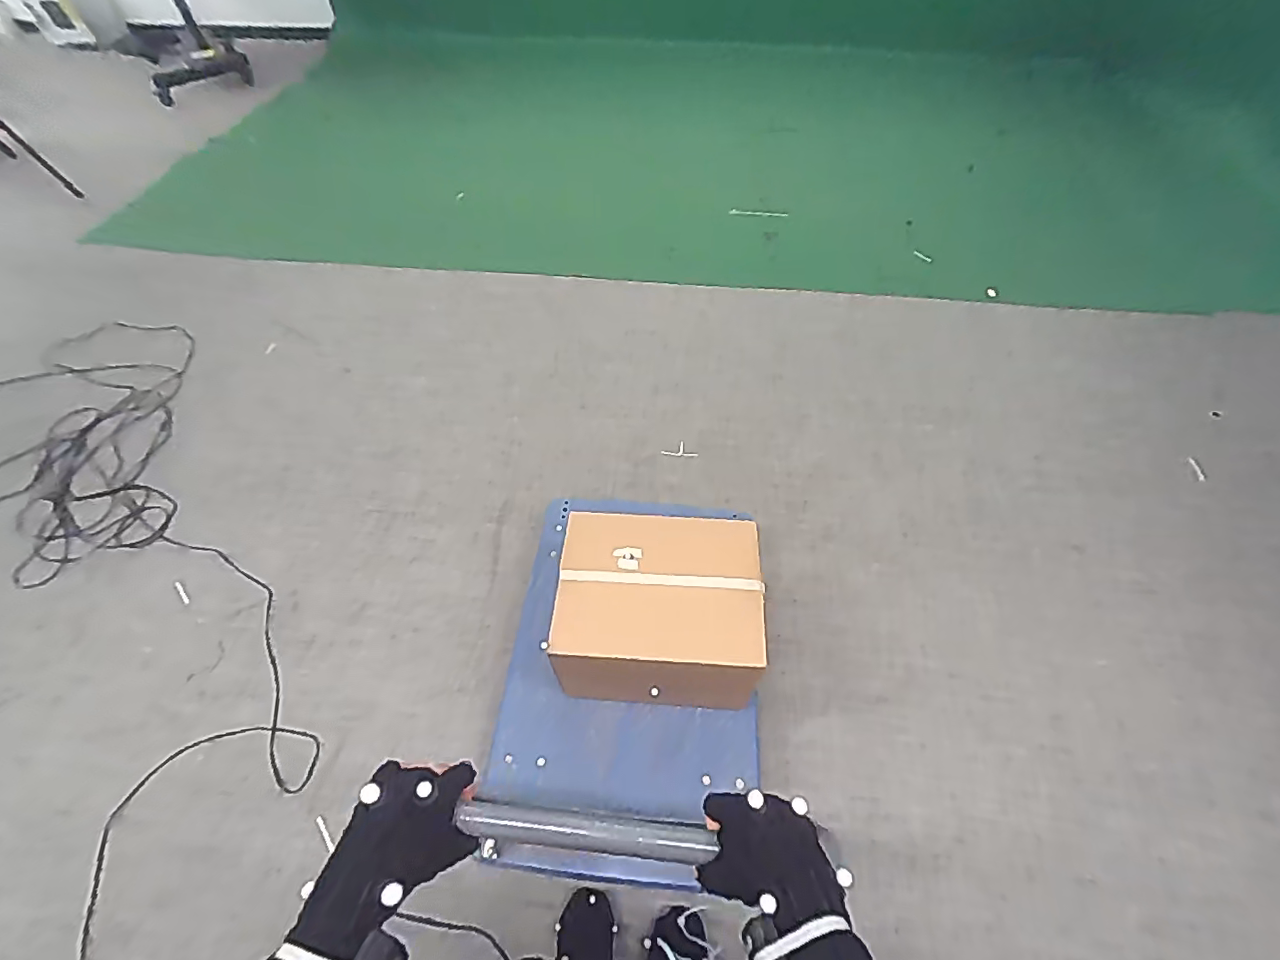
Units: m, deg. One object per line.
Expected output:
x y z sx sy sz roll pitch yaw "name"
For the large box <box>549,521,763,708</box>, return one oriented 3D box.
0.042 0.305 1.203 0.408 0.320 0.320 2 53 4 "large box"
